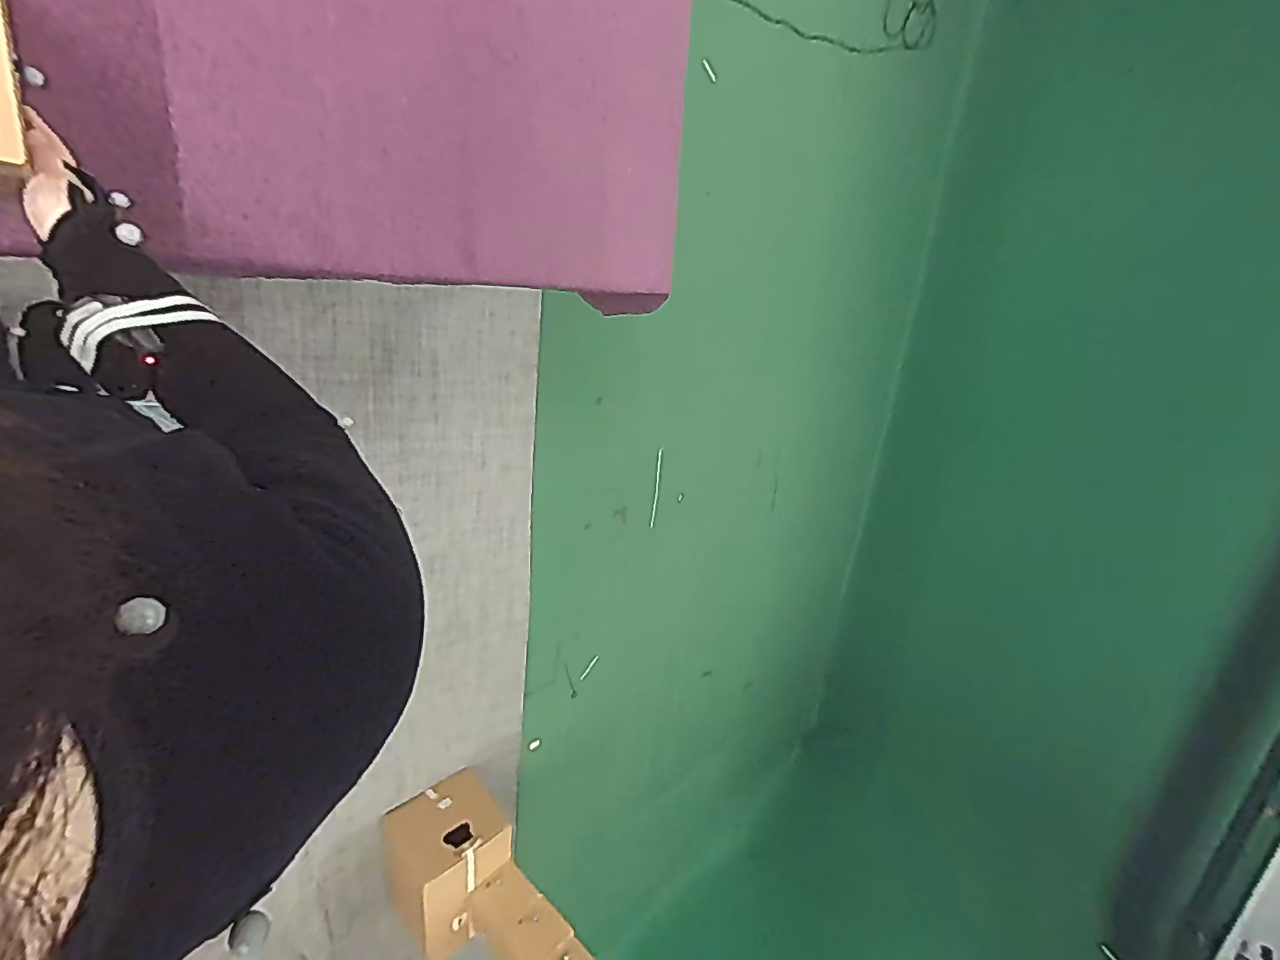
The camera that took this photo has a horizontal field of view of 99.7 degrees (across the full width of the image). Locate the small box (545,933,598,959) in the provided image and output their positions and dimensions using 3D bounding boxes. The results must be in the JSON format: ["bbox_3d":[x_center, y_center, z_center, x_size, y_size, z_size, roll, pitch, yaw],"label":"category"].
[{"bbox_3d":[-0.204,1.528,1.616,0.168,0.176,0.179,-13,114,-48],"label":"small box"}]

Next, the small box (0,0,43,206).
[{"bbox_3d":[-0.536,-0.305,0.362,0.168,0.176,0.179,-9,109,-44],"label":"small box"}]

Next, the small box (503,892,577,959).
[{"bbox_3d":[-0.321,1.478,1.719,0.168,0.176,0.179,-16,116,-46],"label":"small box"}]

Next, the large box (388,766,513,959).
[{"bbox_3d":[-0.664,1.326,1.907,0.320,0.320,0.408,-14,117,-44],"label":"large box"}]
